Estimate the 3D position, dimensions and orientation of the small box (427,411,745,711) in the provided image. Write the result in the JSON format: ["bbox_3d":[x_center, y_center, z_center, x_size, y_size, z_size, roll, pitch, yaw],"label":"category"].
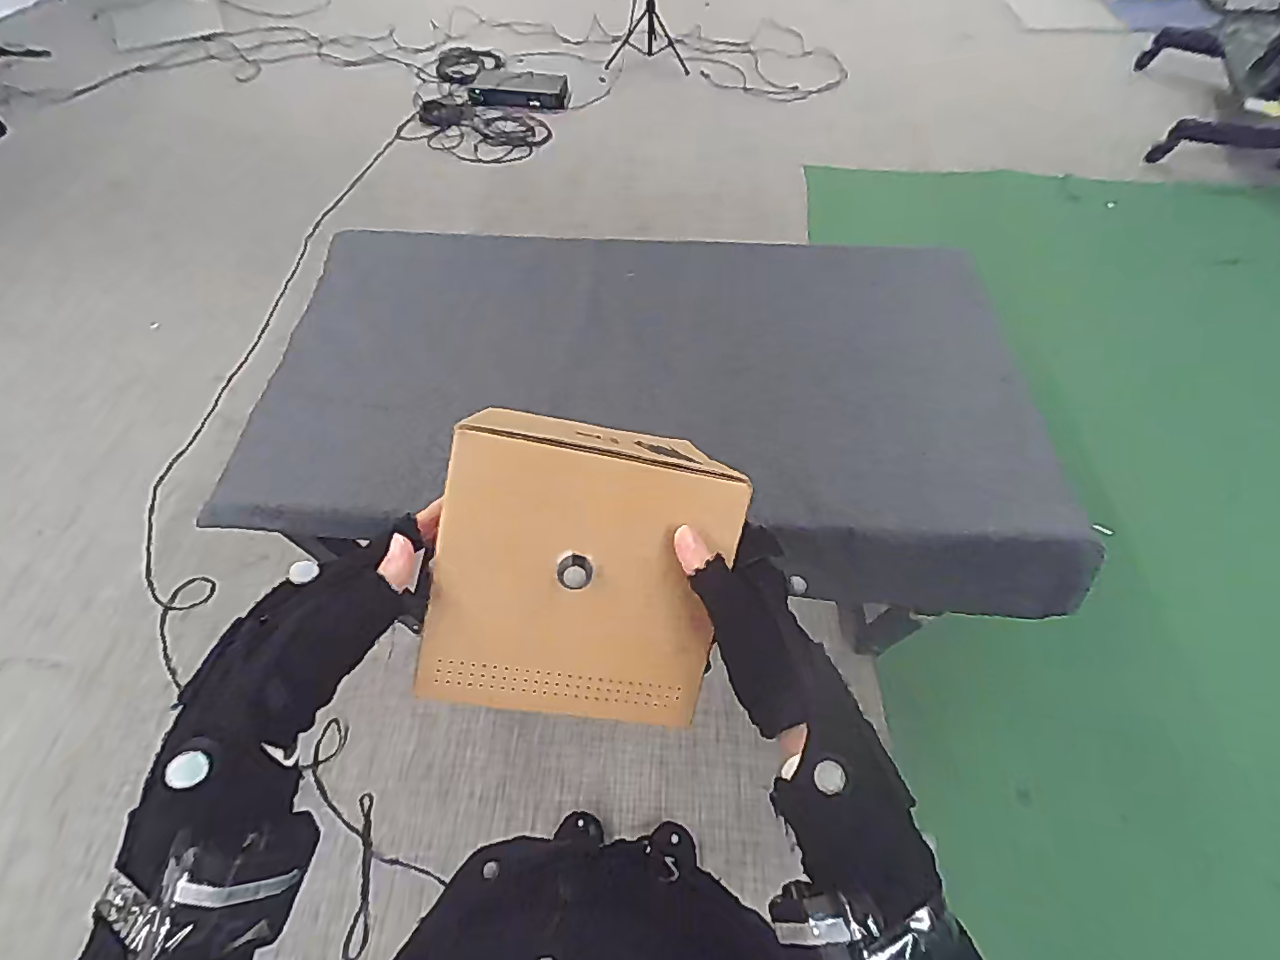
[{"bbox_3d":[-0.045,0.053,0.416,0.179,0.168,0.176,12,98,-11],"label":"small box"}]
